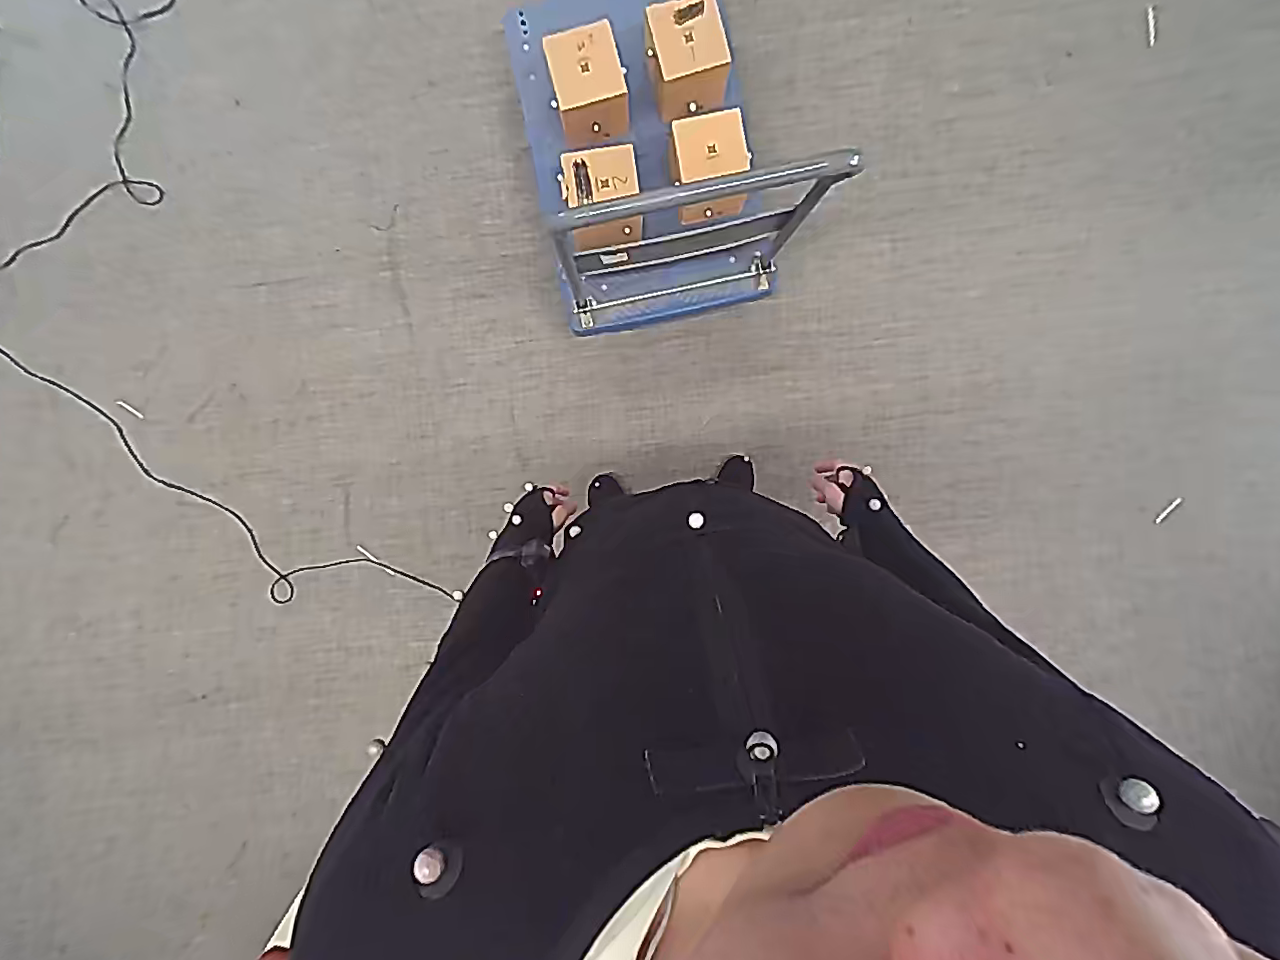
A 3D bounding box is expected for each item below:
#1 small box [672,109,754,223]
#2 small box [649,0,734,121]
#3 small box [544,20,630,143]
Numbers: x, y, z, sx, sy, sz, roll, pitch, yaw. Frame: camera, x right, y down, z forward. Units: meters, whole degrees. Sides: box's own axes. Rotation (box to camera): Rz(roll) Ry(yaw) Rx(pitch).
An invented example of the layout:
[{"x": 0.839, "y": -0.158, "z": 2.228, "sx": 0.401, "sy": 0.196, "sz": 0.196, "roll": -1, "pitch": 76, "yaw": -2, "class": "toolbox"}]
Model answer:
[{"x": 0.175, "y": -0.775, "z": 1.347, "sx": 0.168, "sy": 0.176, "sz": 0.179, "roll": -11, "pitch": 93, "yaw": 1, "class": "small box"}, {"x": 0.120, "y": -1.039, "z": 1.334, "sx": 0.168, "sy": 0.176, "sz": 0.179, "roll": -15, "pitch": 93, "yaw": 2, "class": "small box"}, {"x": -0.124, "y": -0.972, "z": 1.341, "sx": 0.168, "sy": 0.176, "sz": 0.179, "roll": -15, "pitch": 92, "yaw": 1, "class": "small box"}]
